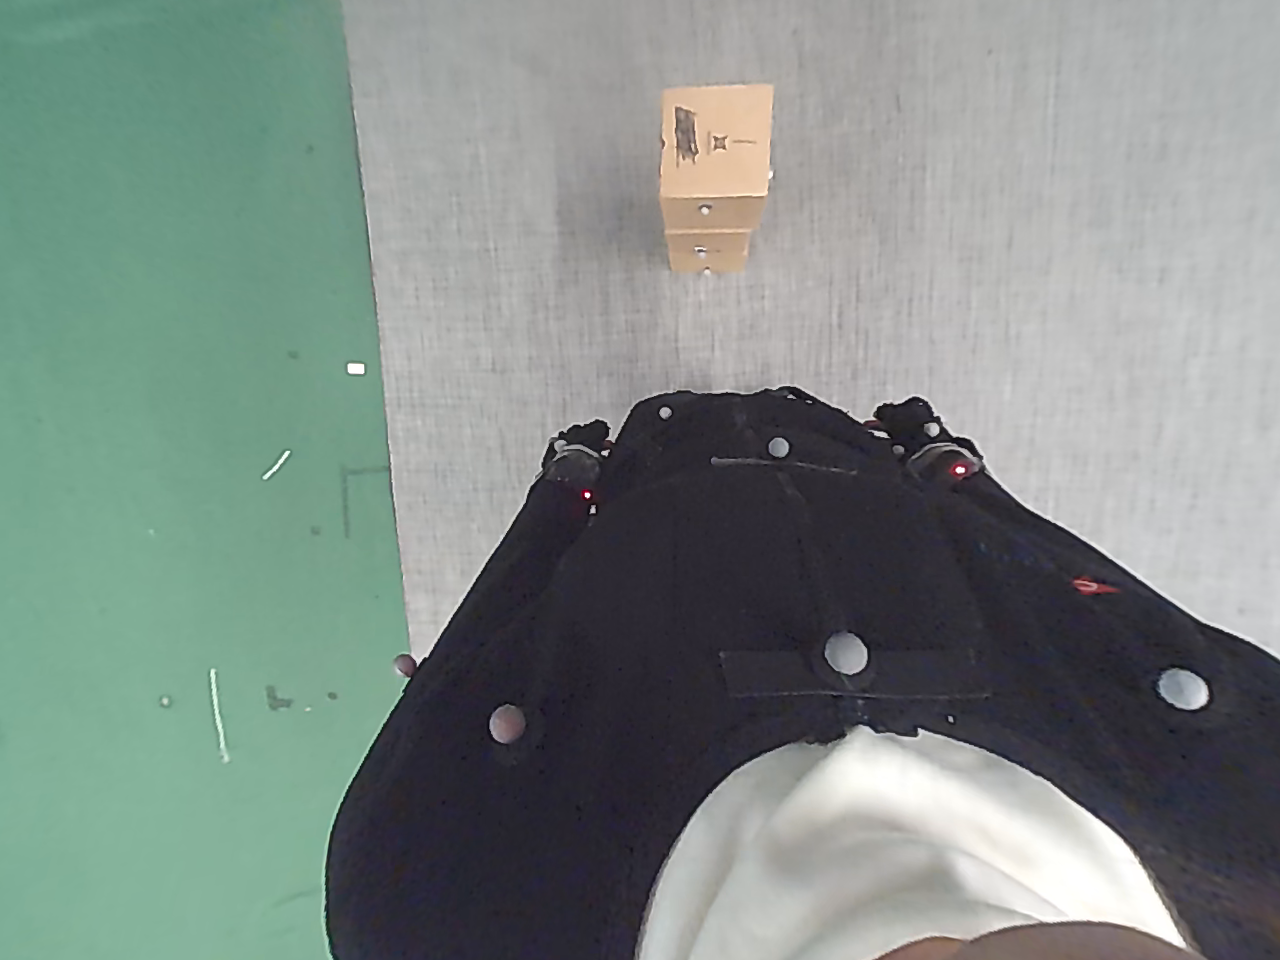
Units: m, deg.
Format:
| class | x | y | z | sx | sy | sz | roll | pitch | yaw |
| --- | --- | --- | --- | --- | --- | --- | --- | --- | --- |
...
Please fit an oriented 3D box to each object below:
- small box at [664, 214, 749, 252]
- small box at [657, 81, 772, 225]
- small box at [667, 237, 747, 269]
| class | x | y | z | sx | sy | sz | roll | pitch | yaw |
| --- | --- | --- | --- | --- | --- | --- | --- | --- | --- |
| small box | 0.138 | -0.578 | 1.101 | 0.168 | 0.176 | 0.179 | 2 | 100 | 8 |
| small box | 0.126 | -0.554 | 0.938 | 0.179 | 0.176 | 0.168 | 3 | 99 | 6 |
| small box | 0.157 | -0.597 | 1.261 | 0.179 | 0.176 | 0.168 | 3 | 99 | 6 |
